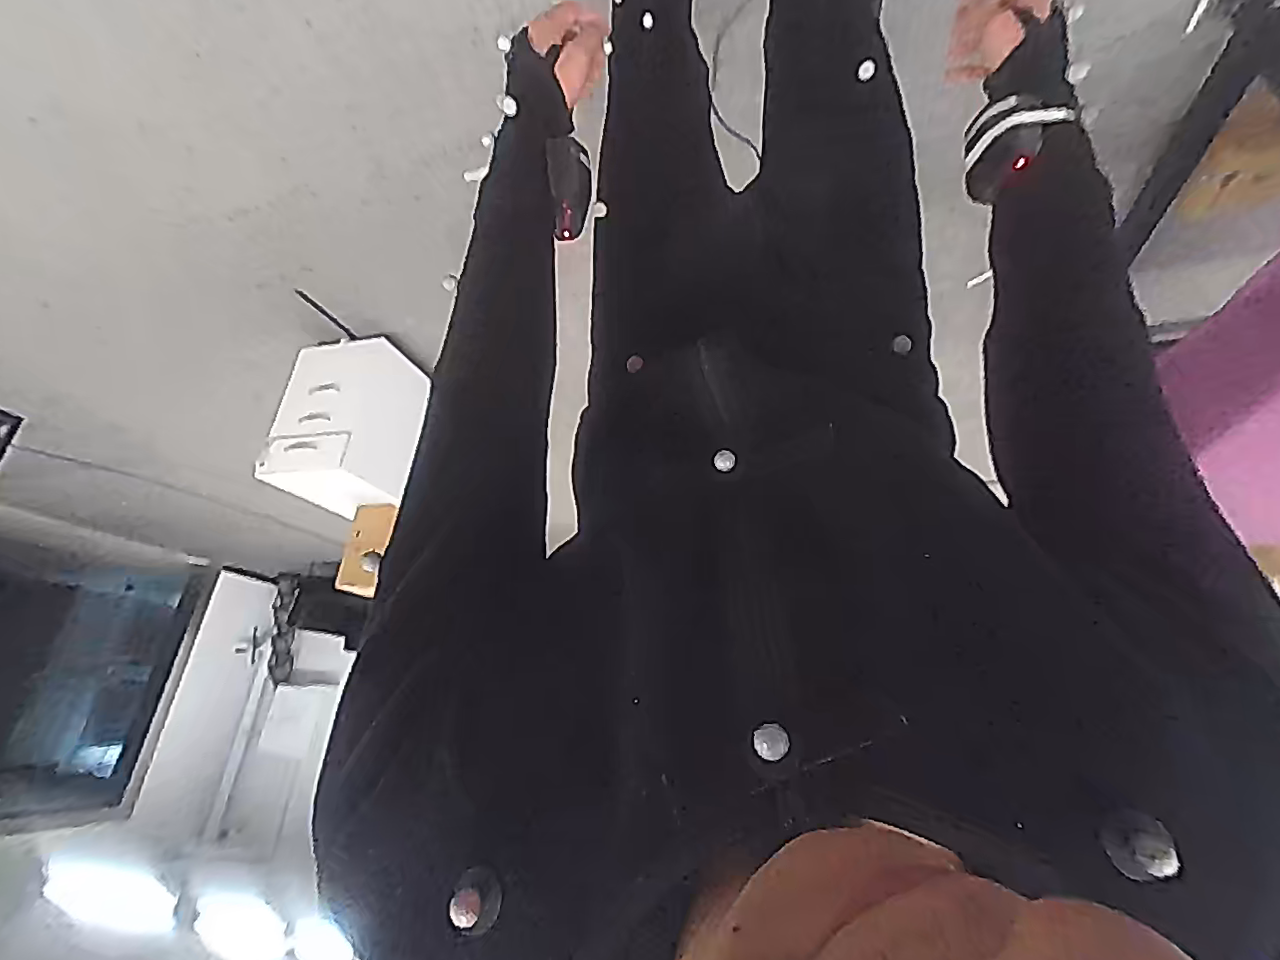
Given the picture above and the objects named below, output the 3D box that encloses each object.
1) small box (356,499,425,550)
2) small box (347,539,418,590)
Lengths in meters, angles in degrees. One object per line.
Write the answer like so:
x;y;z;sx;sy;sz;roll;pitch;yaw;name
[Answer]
-1.014;0.184;2.213;0.179;0.176;0.168;-3;157;18;small box
-1.020;0.336;2.151;0.168;0.176;0.179;-2;157;17;small box
